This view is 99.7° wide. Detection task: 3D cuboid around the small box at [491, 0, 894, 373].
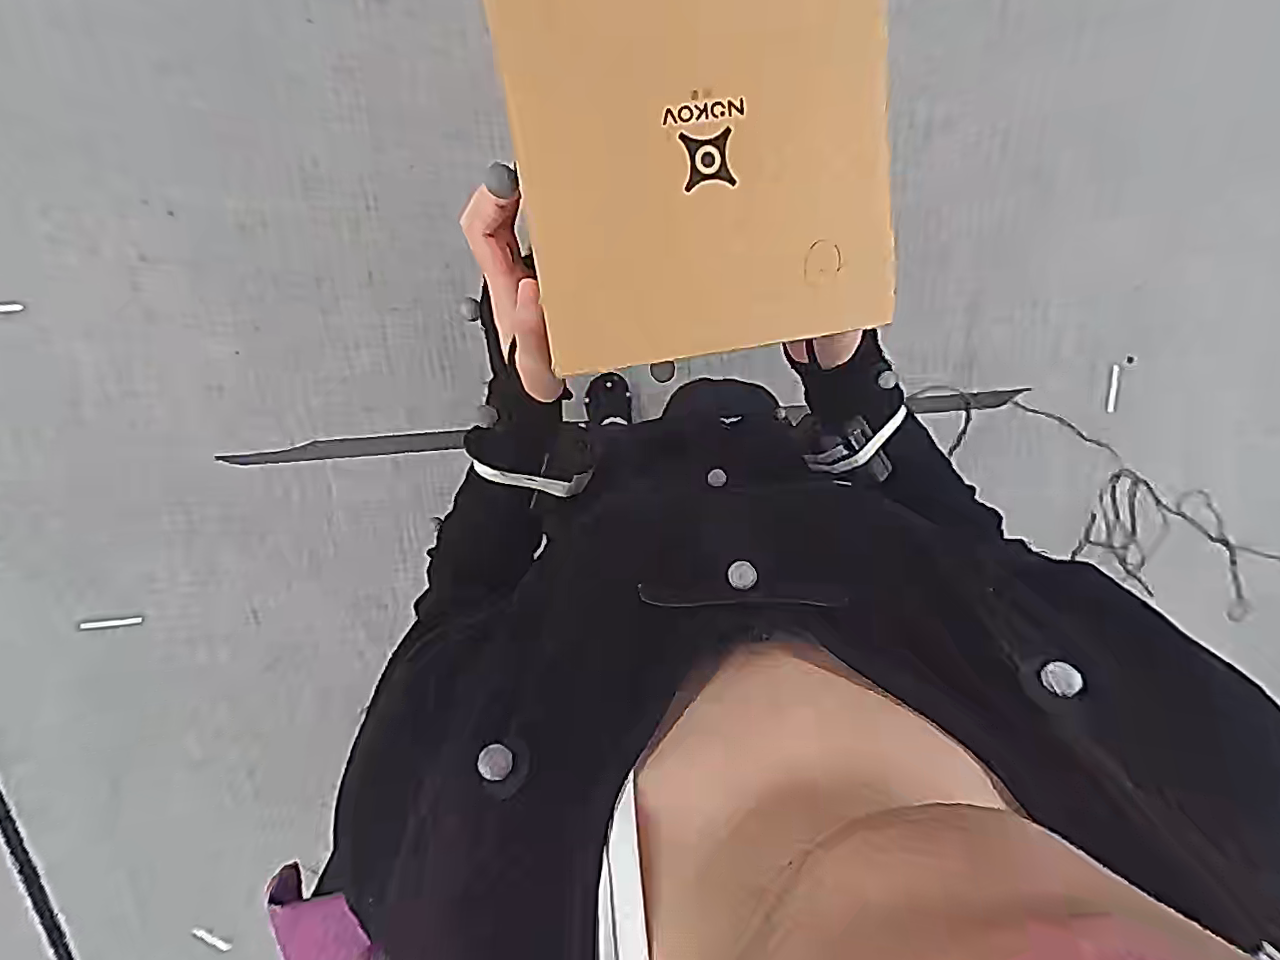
[{"bbox_3d":[0.021,-0.160,0.307,0.168,0.176,0.179,-8,103,-4],"label":"small box"}]
